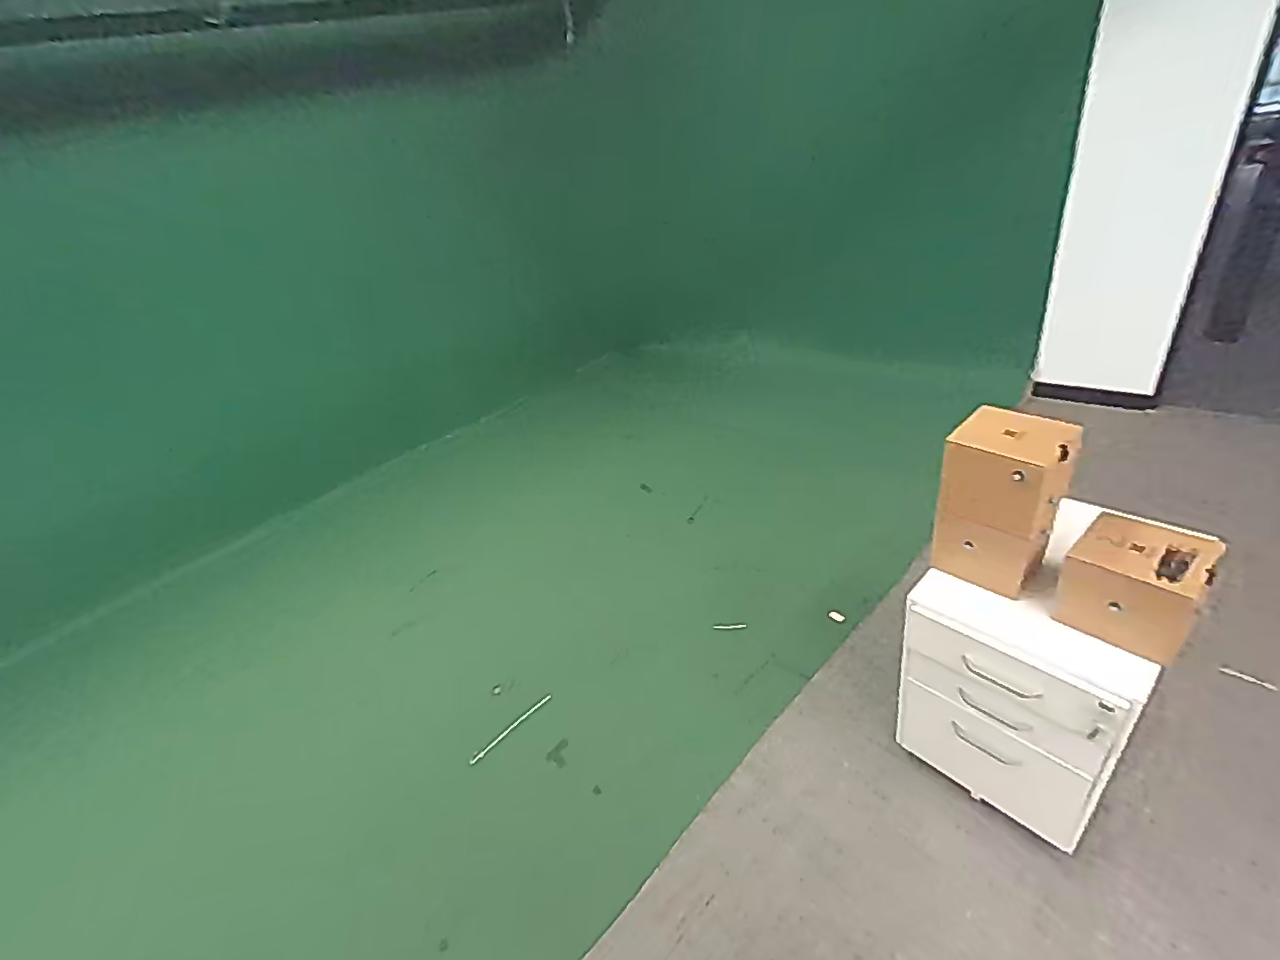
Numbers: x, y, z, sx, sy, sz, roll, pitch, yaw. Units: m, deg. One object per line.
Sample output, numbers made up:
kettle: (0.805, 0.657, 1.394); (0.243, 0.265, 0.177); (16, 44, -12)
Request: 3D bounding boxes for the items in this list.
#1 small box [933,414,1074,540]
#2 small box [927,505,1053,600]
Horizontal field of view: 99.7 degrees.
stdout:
small box: (0.714, -0.008, 1.079); (0.168, 0.176, 0.179); (-32, 38, -28)
small box: (0.744, 0.128, 1.164); (0.168, 0.176, 0.179); (-33, 37, -29)
